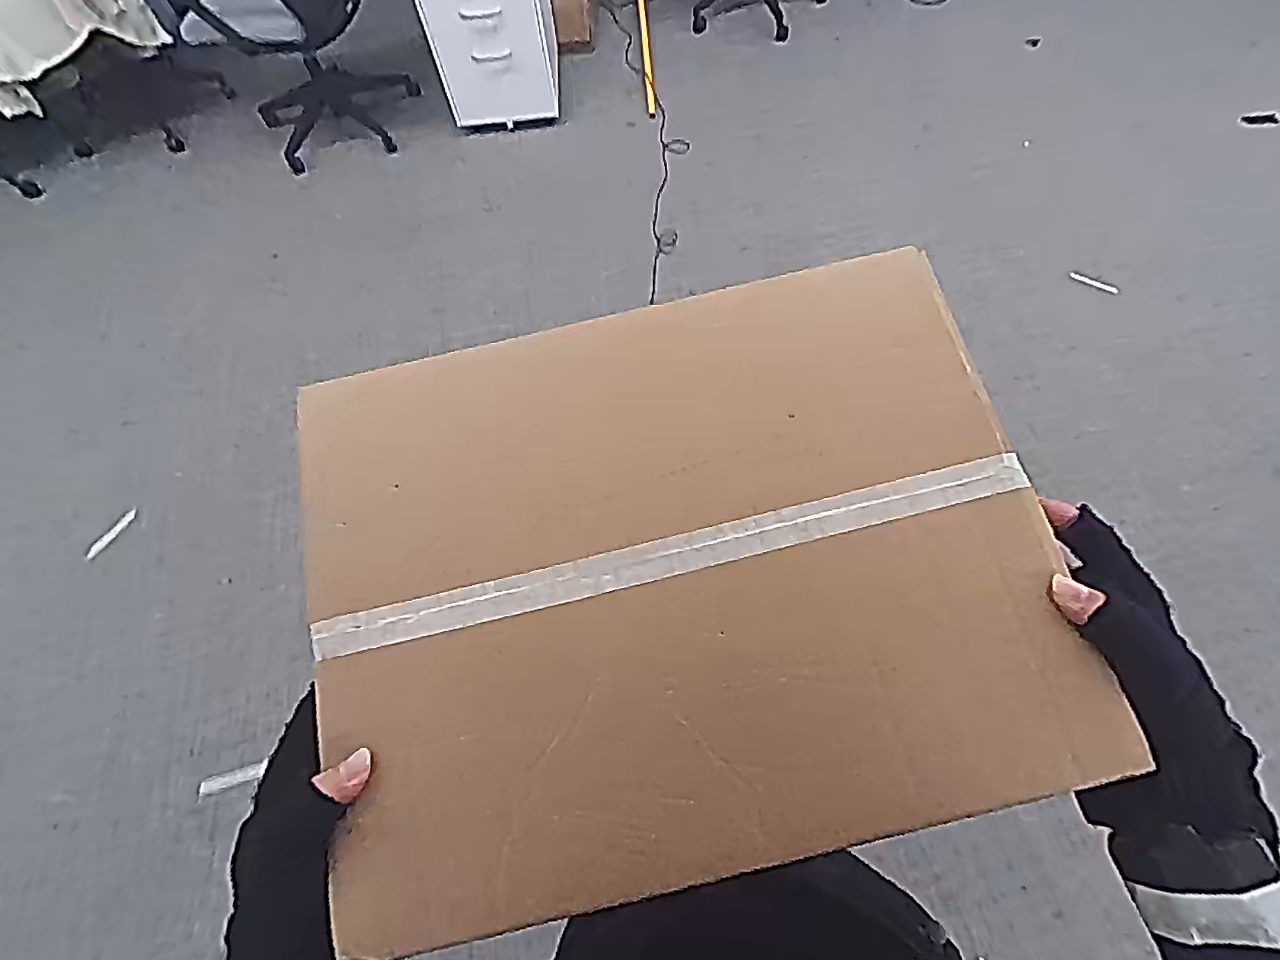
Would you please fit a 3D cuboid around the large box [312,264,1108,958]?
[{"bbox_3d":[0.025,0.086,0.455,0.408,0.320,0.320,-14,74,0],"label":"large box"}]
